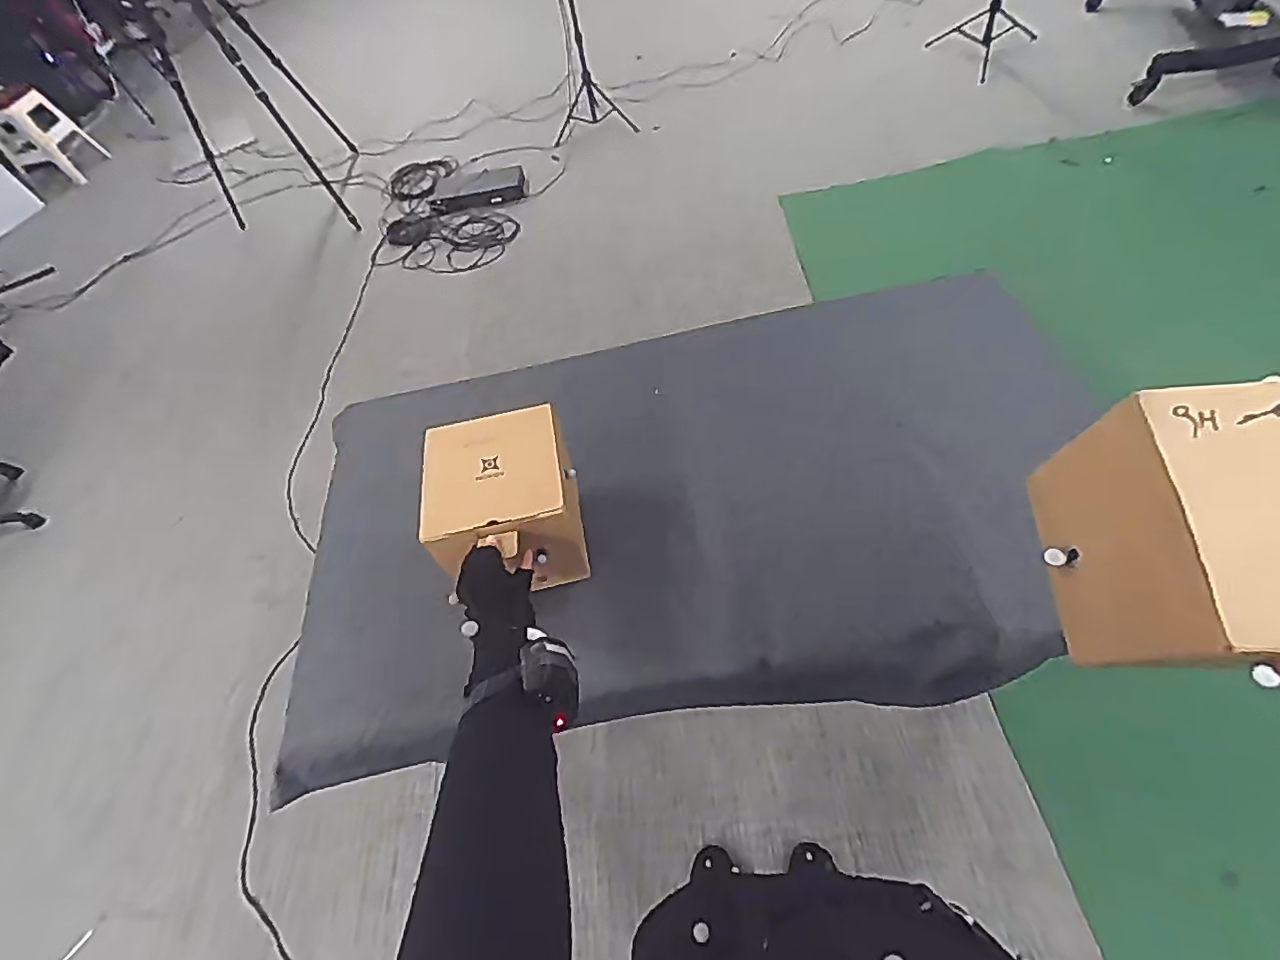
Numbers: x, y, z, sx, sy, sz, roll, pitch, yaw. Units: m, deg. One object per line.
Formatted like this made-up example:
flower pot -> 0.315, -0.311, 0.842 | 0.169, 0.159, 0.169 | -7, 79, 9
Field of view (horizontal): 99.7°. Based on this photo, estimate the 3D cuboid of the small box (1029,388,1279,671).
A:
small box -> 0.433, 0.048, 0.403 | 0.168, 0.176, 0.179 | -2, 69, 9

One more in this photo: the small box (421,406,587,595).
small box -> -0.171, 0.035, 0.709 | 0.168, 0.176, 0.179 | -12, 51, -4
